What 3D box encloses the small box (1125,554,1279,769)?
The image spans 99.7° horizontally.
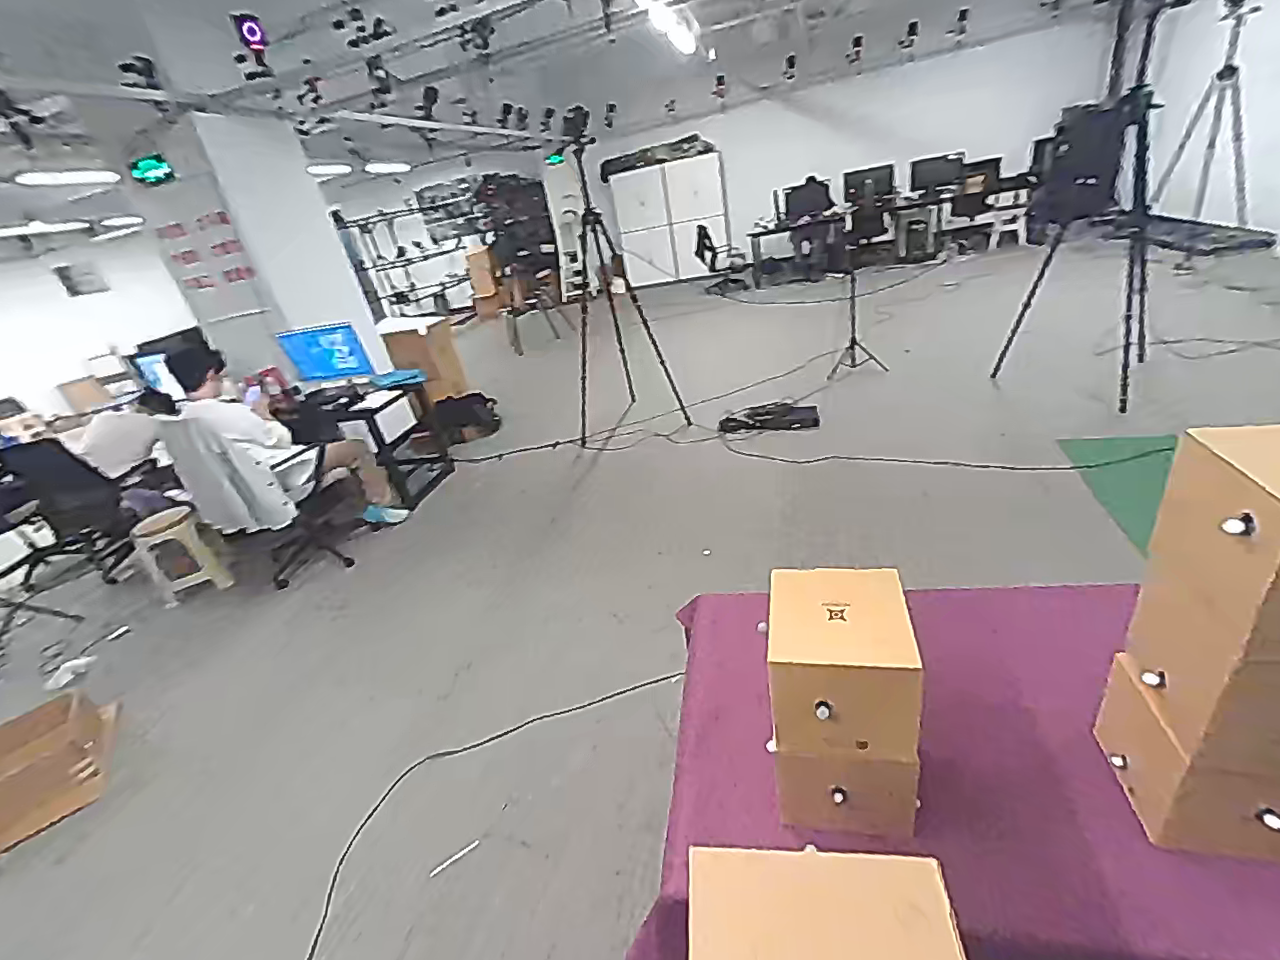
[{"bbox_3d":[0.689,0.201,0.600,0.168,0.176,0.179,-2,30,20],"label":"small box"}]

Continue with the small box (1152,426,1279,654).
[{"bbox_3d":[0.654,0.058,0.524,0.168,0.176,0.179,-3,28,19],"label":"small box"}]

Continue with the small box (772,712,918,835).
[{"bbox_3d":[0.288,0.382,0.784,0.179,0.176,0.168,-5,28,16],"label":"small box"}]

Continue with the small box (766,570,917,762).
[{"bbox_3d":[0.260,0.239,0.711,0.168,0.176,0.179,-3,27,17],"label":"small box"}]
